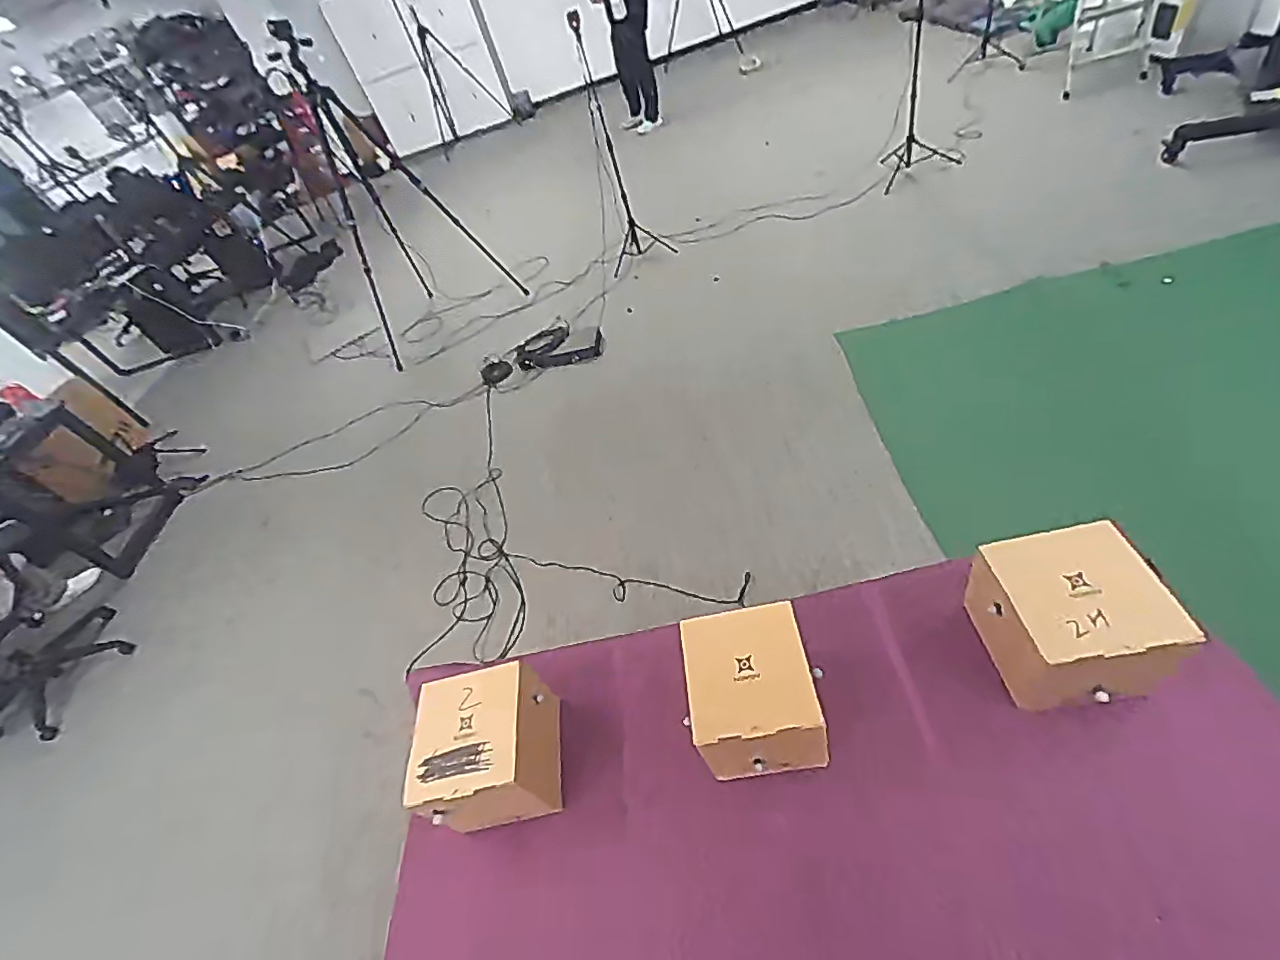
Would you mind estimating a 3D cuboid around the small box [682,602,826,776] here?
[{"bbox_3d":[0.163,0.305,0.784,0.168,0.176,0.179,-13,47,8],"label":"small box"}]

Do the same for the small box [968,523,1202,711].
[{"bbox_3d":[0.572,0.188,0.732,0.168,0.176,0.179,-14,46,11],"label":"small box"}]
